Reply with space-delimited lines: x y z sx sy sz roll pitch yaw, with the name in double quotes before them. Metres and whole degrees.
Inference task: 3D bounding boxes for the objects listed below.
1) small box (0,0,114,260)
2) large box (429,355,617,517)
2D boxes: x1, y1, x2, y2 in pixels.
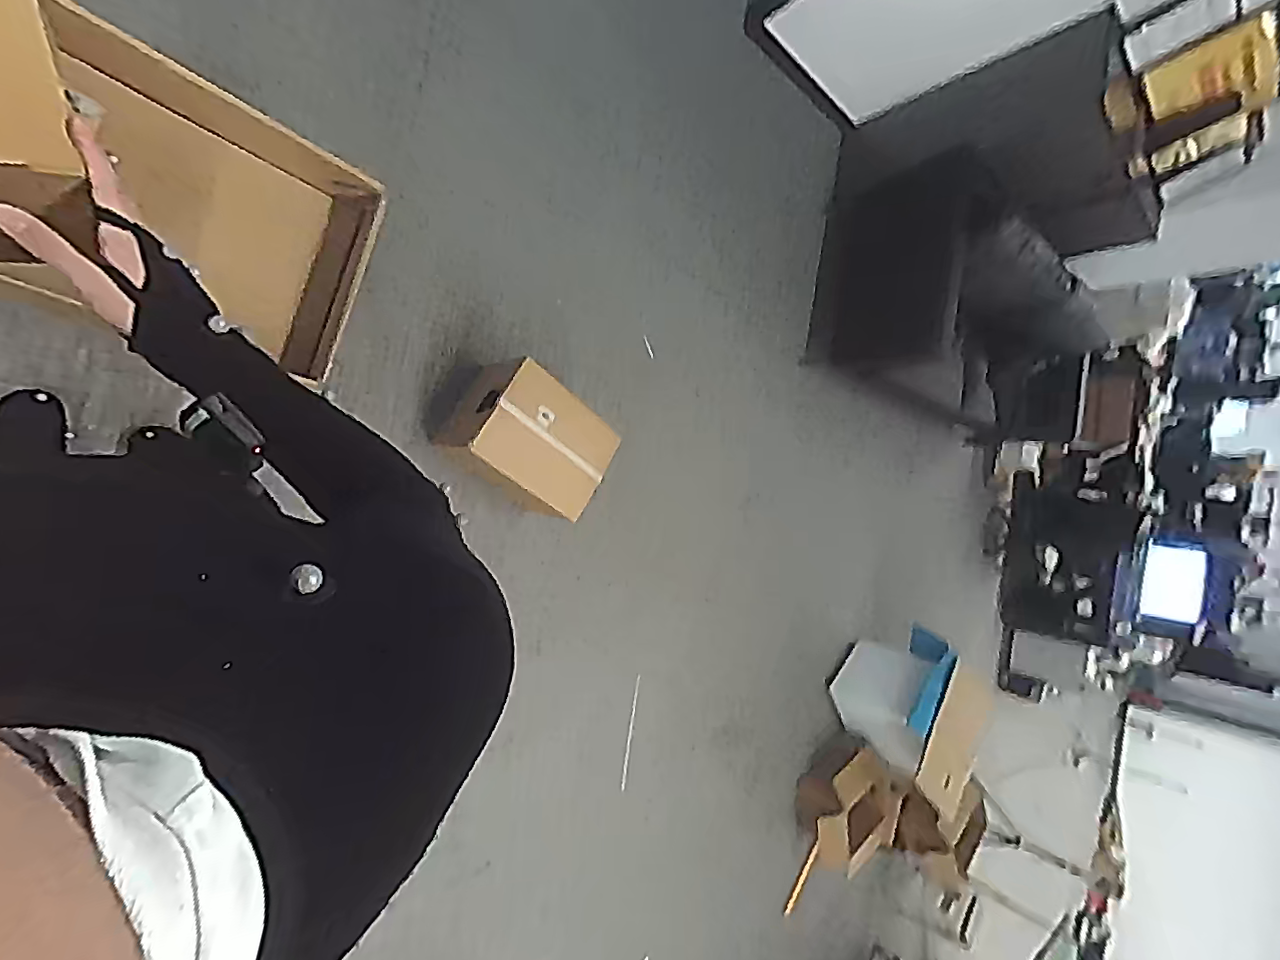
"small box" -0.557 -0.297 0.427 0.168 0.176 0.179 -17 96 -39
"large box" -0.356 -0.126 1.669 0.408 0.320 0.320 40 69 -34
